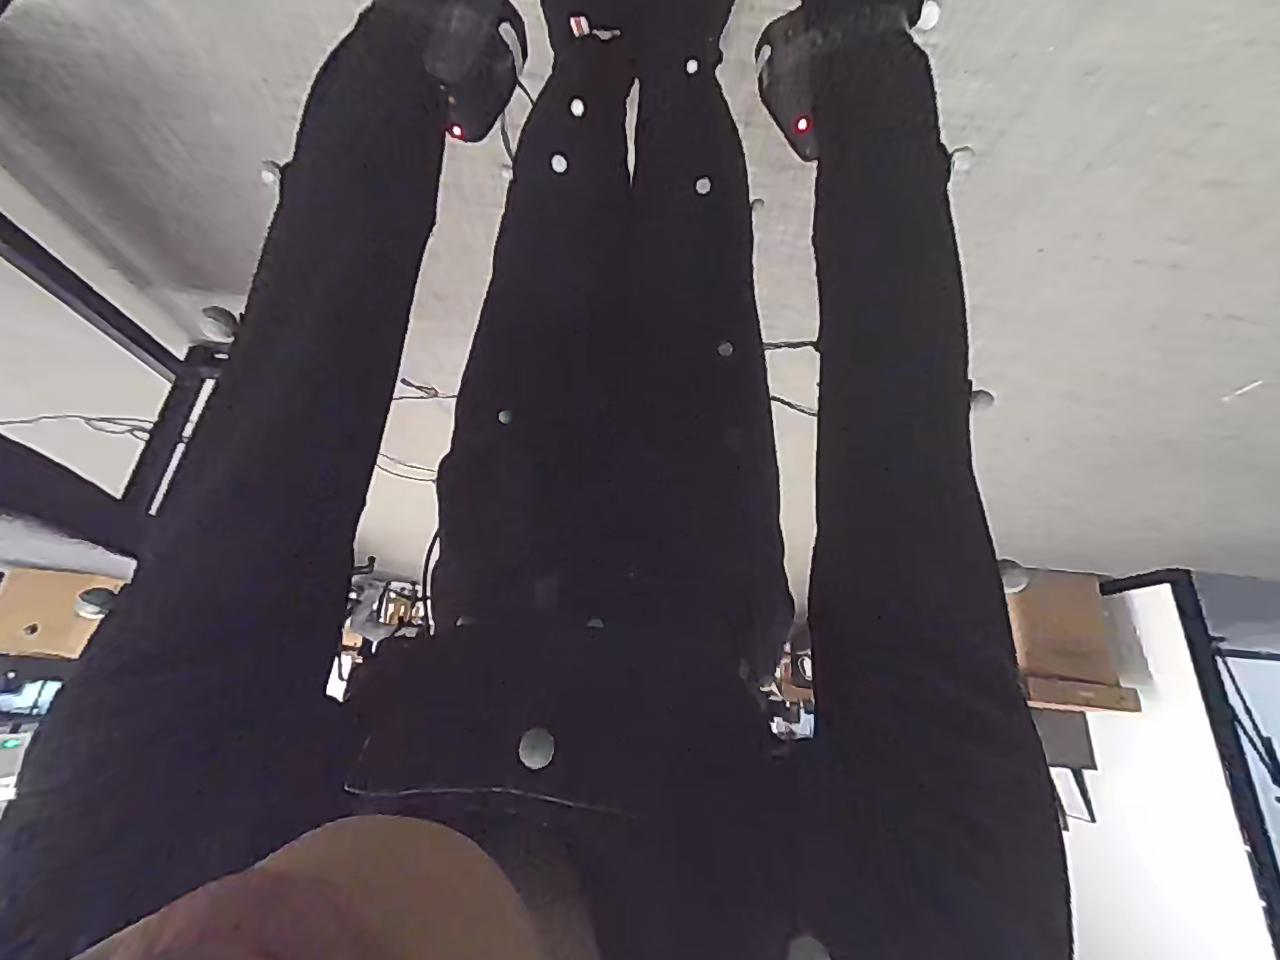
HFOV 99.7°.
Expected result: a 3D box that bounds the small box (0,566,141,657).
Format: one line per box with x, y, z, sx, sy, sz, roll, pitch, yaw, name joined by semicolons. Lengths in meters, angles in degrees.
-1.238;0.285;1.165;0.179;0.176;0.168;6;159;-3;small box
